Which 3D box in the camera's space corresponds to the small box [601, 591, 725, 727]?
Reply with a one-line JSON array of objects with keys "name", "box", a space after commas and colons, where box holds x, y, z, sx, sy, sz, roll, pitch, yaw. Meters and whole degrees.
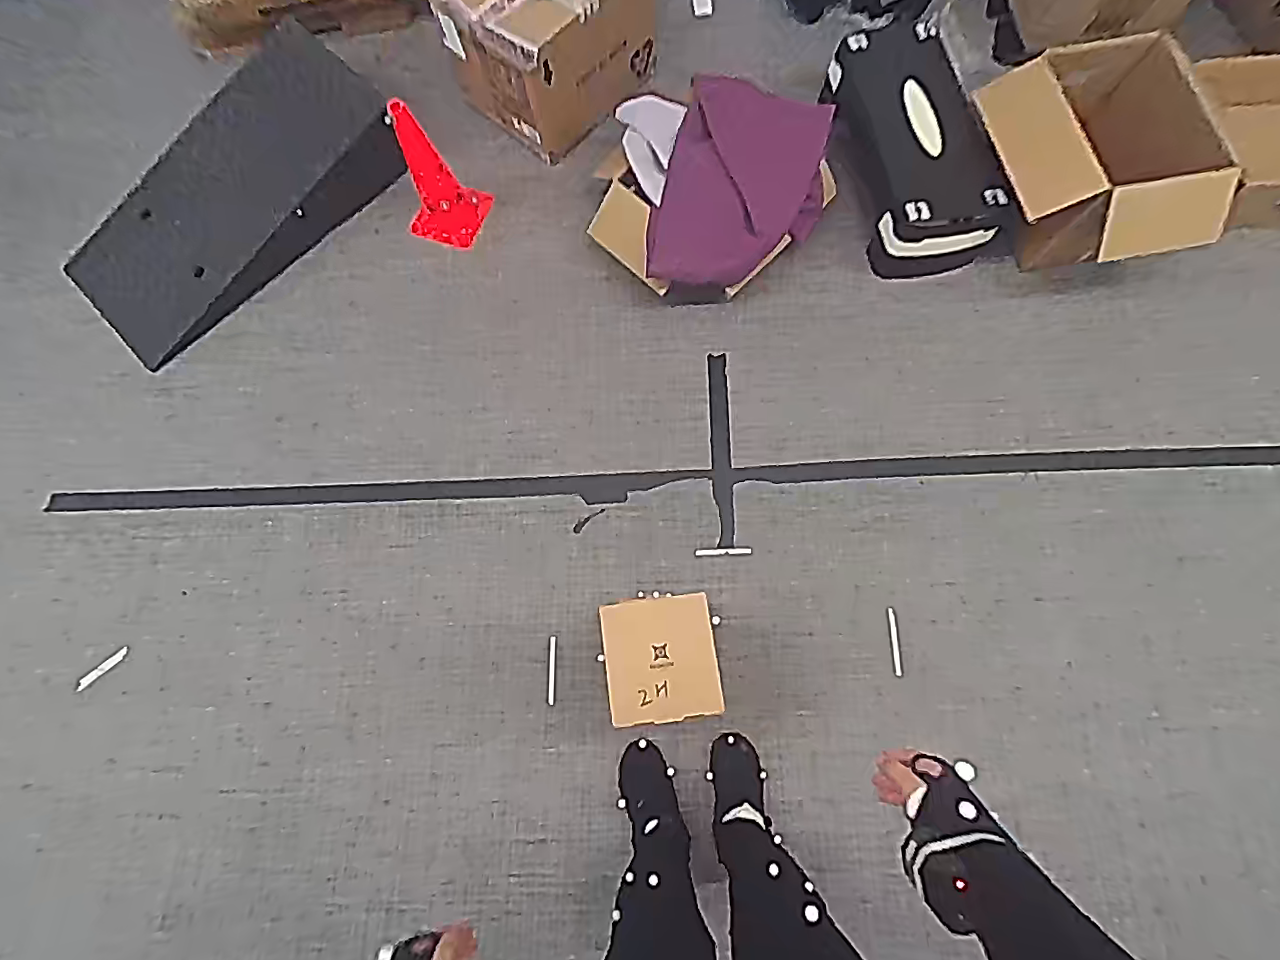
[{"name": "small box", "box": [0.034, 0.282, 0.871, 0.168, 0.176, 0.179, -8, 75, 1]}]
